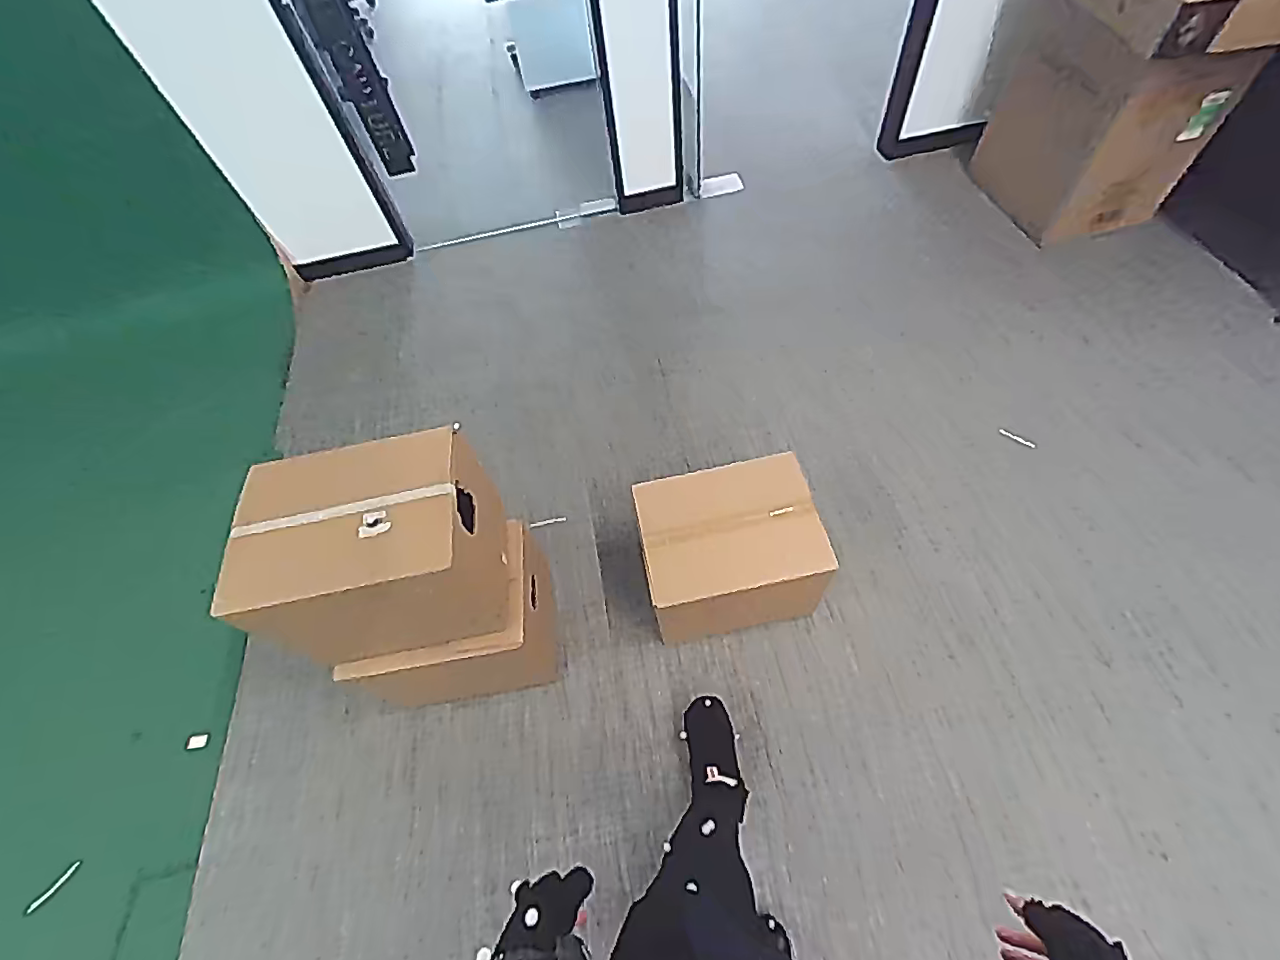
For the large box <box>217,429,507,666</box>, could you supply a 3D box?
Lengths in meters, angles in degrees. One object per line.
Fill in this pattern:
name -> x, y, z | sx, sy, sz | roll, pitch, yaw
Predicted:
large box -> -0.509, 0.145, 1.092 | 0.408, 0.320, 0.320 | -11, 54, -1
